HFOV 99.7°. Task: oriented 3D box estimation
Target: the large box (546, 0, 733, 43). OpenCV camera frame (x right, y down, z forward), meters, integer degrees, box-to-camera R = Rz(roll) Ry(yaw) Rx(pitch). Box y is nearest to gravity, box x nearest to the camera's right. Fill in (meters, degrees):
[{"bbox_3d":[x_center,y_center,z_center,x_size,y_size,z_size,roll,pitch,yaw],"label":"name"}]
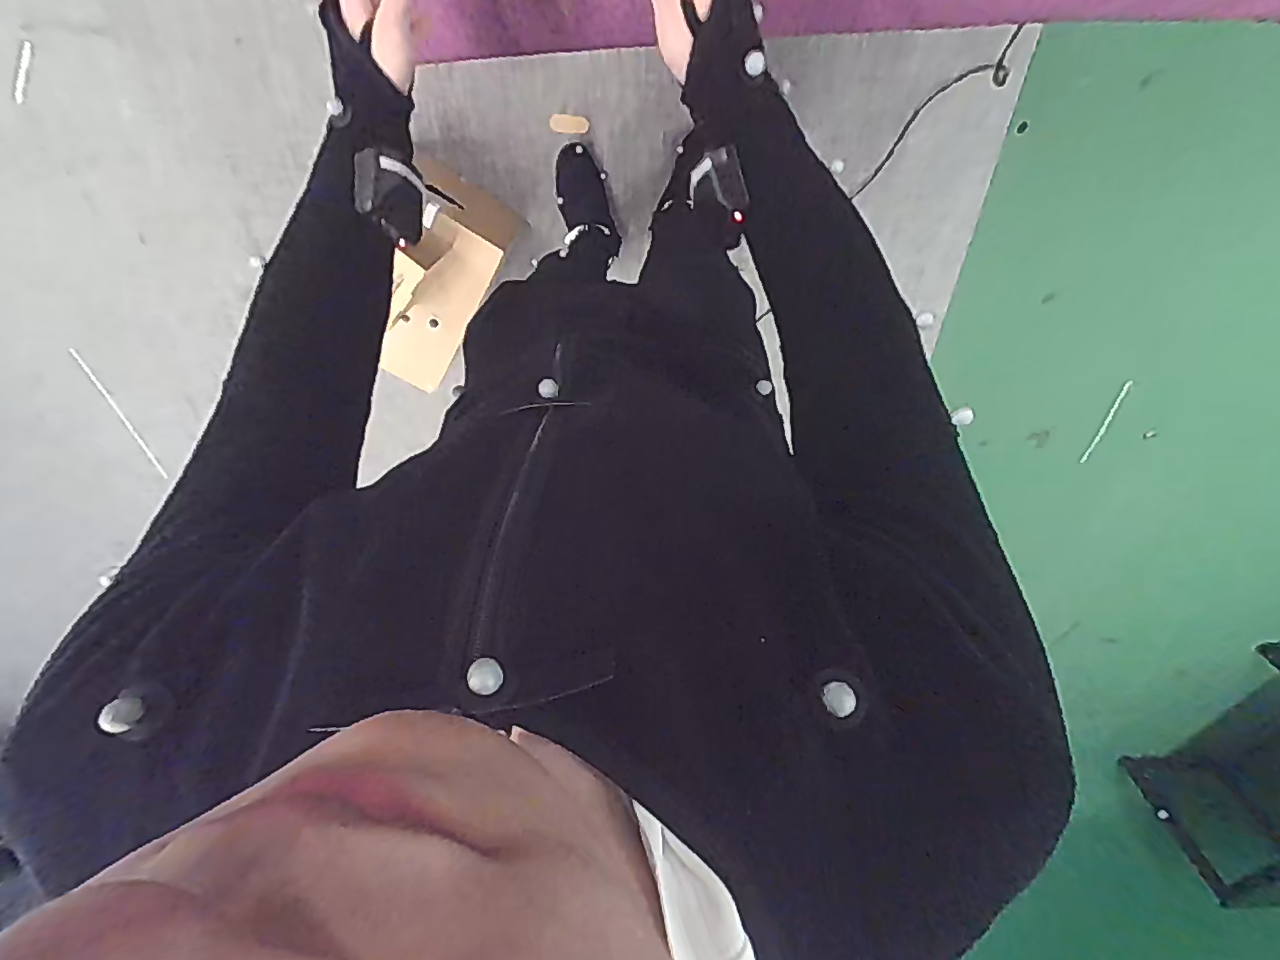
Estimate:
[{"bbox_3d":[-0.010,-1.013,0.914,0.320,0.320,0.408,-3,126,0],"label":"large box"}]
